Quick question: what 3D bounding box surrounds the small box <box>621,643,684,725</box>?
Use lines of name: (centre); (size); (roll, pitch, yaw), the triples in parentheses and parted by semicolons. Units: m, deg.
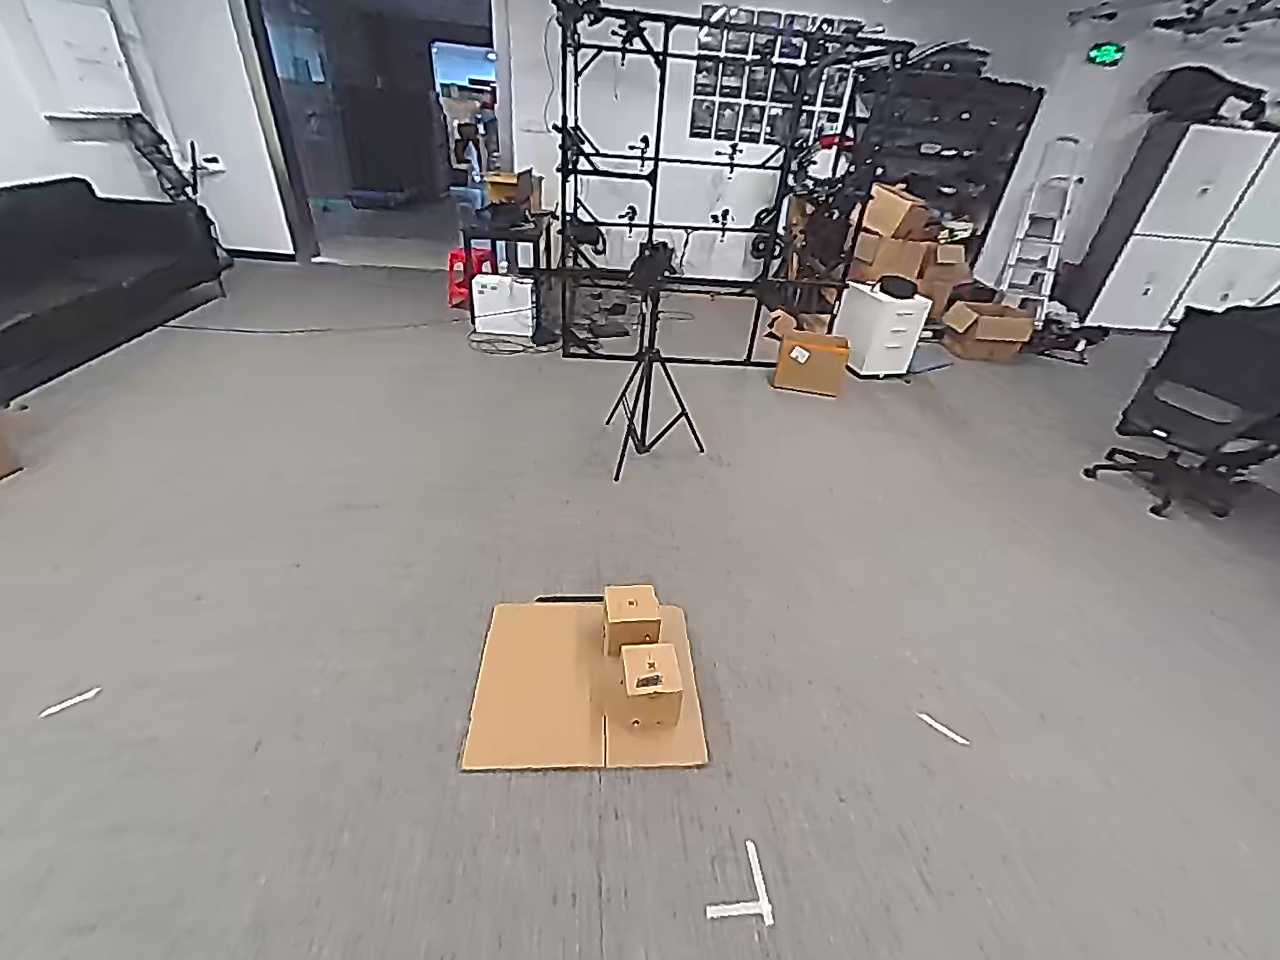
small box: (0.033, 0.623, 1.640); (0.168, 0.176, 0.179); (-1, 34, -8)

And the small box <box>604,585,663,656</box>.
small box: (-0.027, 0.482, 1.850); (0.179, 0.176, 0.168); (-3, 33, -10)
